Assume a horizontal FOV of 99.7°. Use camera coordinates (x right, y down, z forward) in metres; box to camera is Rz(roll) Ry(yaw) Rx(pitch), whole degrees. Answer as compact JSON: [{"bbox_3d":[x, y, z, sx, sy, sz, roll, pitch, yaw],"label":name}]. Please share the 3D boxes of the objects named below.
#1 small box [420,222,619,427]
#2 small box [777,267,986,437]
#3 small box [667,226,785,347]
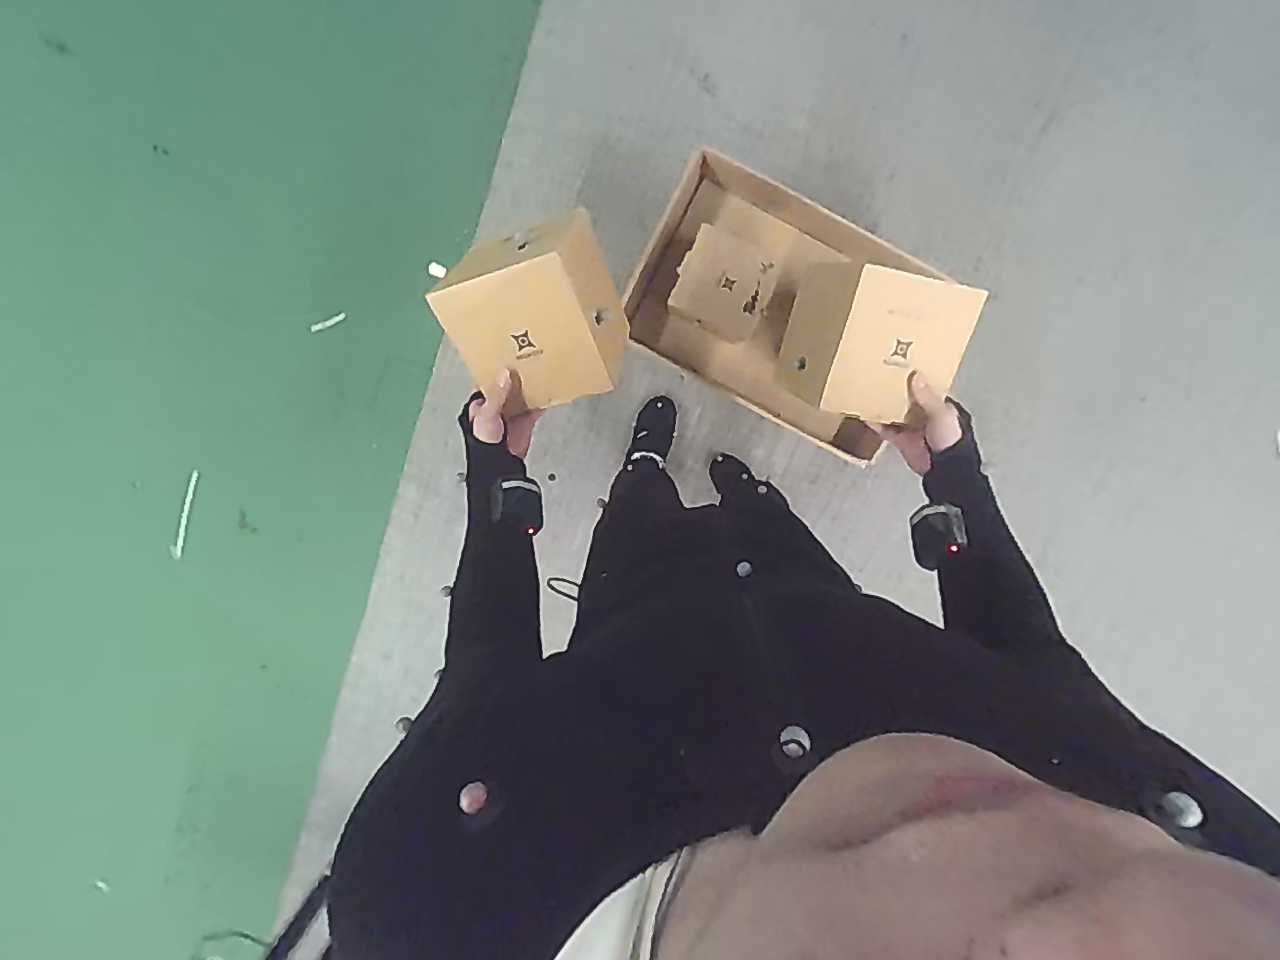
[{"bbox_3d":[-0.133,-0.199,0.673,0.168,0.176,0.179,-13,130,15],"label":"small box"},{"bbox_3d":[0.298,-0.174,0.714,0.168,0.176,0.179,8,110,-11],"label":"small box"},{"bbox_3d":[0.169,-0.384,1.111,0.179,0.176,0.168,26,101,0],"label":"small box"}]
